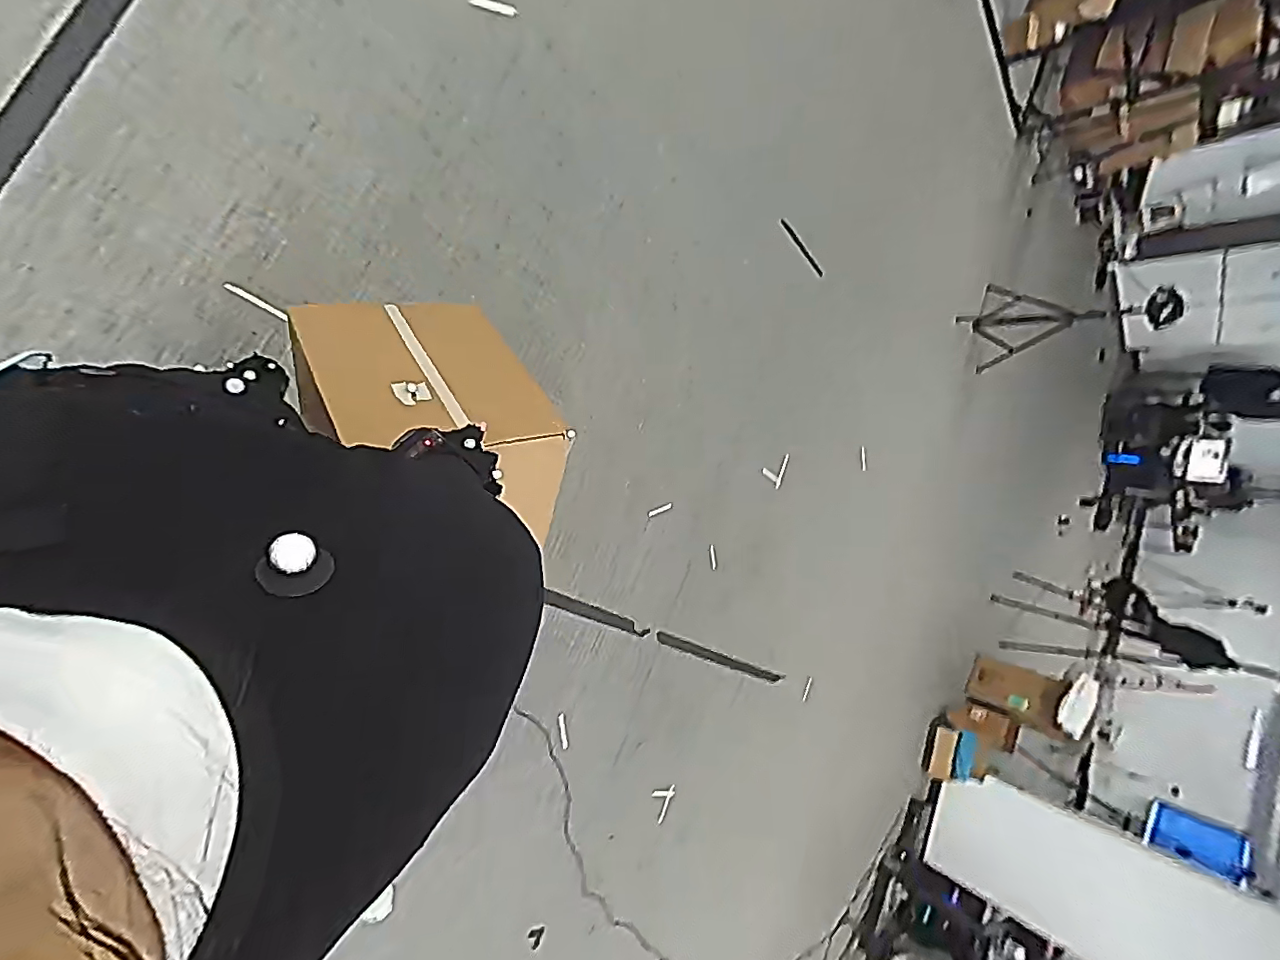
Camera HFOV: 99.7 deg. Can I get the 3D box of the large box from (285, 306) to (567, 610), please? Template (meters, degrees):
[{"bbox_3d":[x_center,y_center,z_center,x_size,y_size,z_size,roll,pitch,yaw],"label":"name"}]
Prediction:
[{"bbox_3d":[-0.381,-0.059,0.936,0.320,0.408,0.320,-13,142,-34],"label":"large box"}]
